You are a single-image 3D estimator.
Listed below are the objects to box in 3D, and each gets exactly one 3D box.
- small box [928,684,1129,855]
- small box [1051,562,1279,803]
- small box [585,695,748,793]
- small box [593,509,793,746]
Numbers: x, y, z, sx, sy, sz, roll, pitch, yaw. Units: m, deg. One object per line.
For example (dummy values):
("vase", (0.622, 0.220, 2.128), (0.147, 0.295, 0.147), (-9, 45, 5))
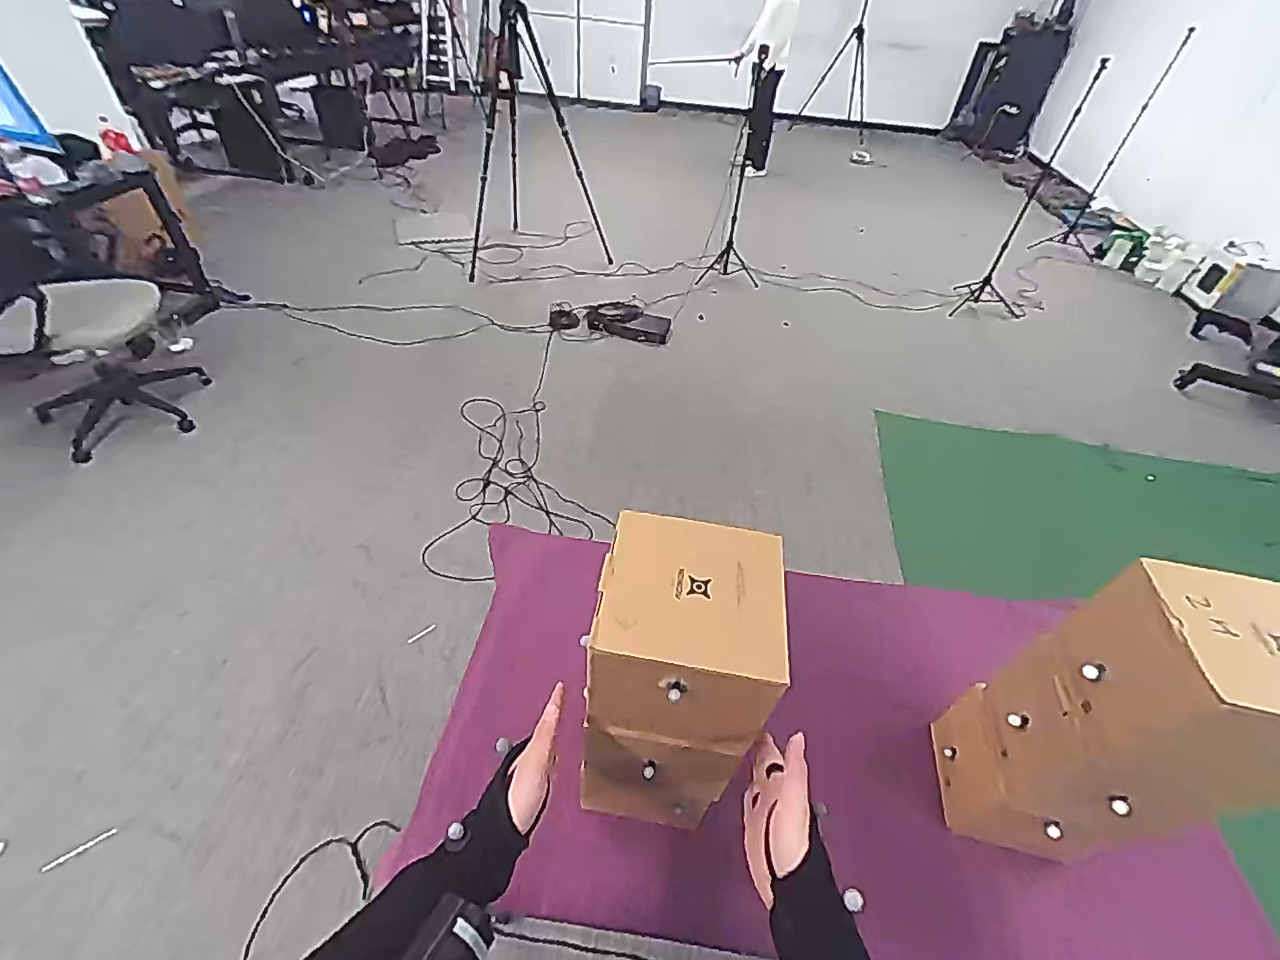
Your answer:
("small box", (0.570, 0.440, 0.817), (0.179, 0.176, 0.168), (12, 45, 7))
("small box", (0.597, 0.218, 0.575), (0.179, 0.176, 0.168), (12, 44, 7))
("small box", (0.032, 0.274, 0.684), (0.179, 0.176, 0.168), (9, 44, 2))
("small box", (0.051, 0.158, 0.571), (0.179, 0.176, 0.168), (10, 45, 3))
